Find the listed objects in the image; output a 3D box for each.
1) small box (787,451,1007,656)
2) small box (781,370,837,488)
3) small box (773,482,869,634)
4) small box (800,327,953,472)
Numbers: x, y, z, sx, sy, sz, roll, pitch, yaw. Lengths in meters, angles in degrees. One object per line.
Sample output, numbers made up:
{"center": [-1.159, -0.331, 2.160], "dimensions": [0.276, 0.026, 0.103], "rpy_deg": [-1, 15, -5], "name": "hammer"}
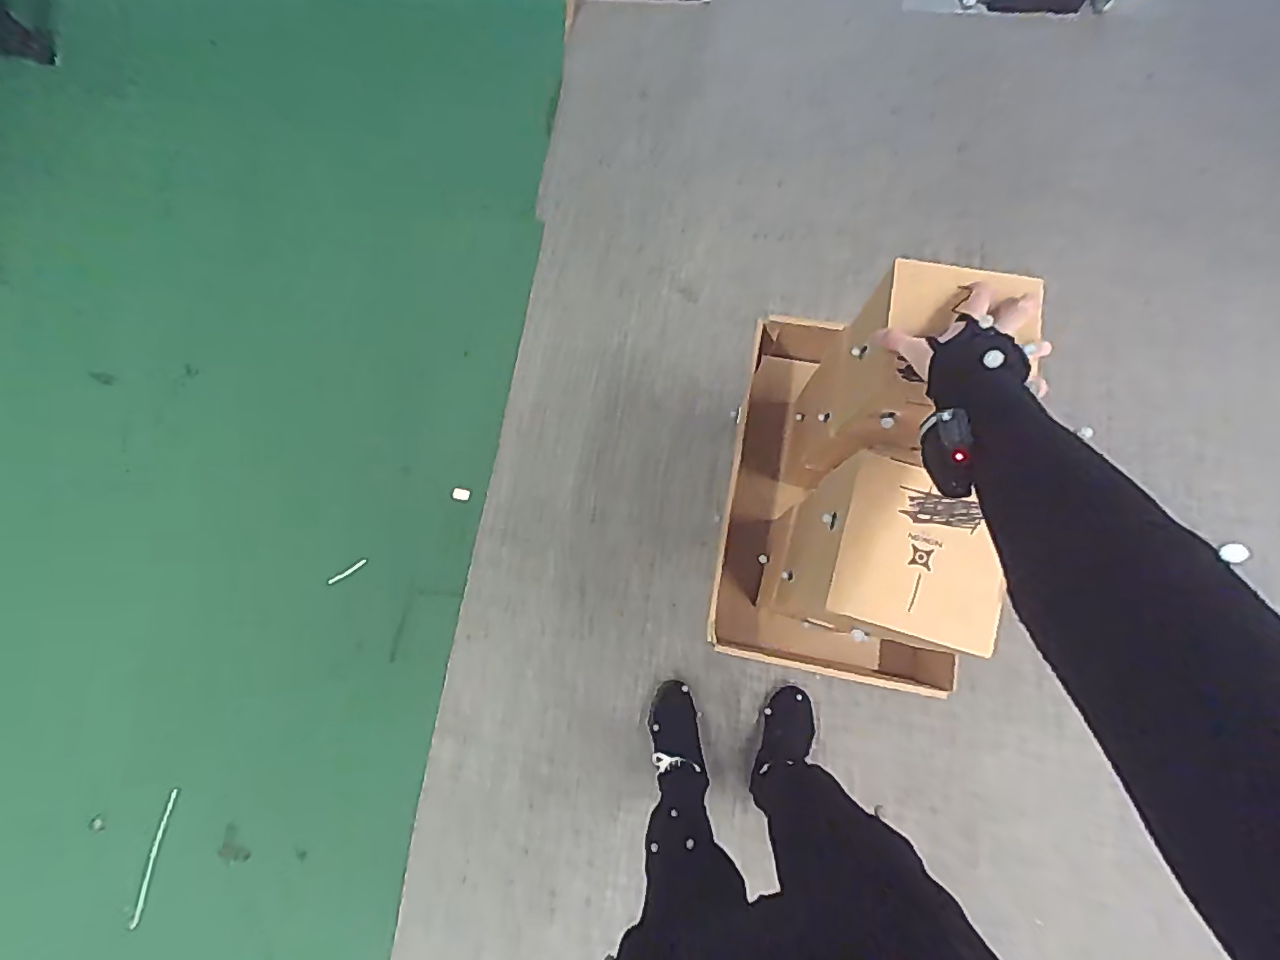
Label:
{"center": [0.285, 0.088, 0.635], "dimensions": [0.168, 0.176, 0.179], "rpy_deg": [17, 79, 6], "name": "small box"}
{"center": [0.368, -0.081, 1.006], "dimensions": [0.168, 0.176, 0.179], "rpy_deg": [10, 79, 6], "name": "small box"}
{"center": [0.303, 0.123, 0.795], "dimensions": [0.168, 0.176, 0.179], "rpy_deg": [16, 78, 6], "name": "small box"}
{"center": [0.359, -0.111, 0.848], "dimensions": [0.168, 0.176, 0.179], "rpy_deg": [10, 80, 4], "name": "small box"}
